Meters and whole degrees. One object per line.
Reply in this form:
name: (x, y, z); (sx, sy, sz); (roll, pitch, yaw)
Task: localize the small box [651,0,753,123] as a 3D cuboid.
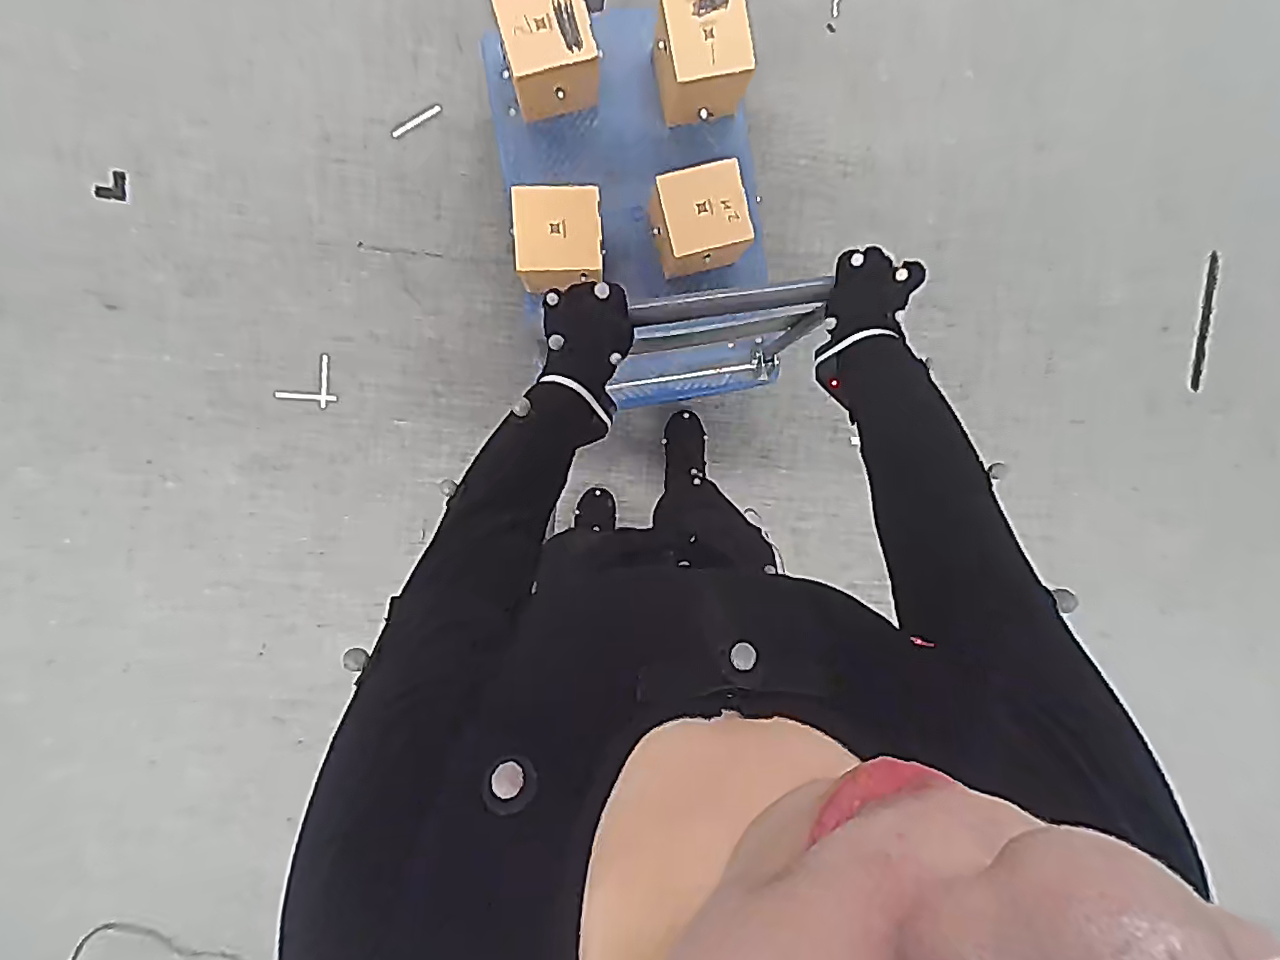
small box: (0.124, -0.900, 1.143); (0.168, 0.176, 0.179); (-12, 97, -3)

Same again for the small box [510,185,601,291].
small box: (-0.175, -0.510, 1.159); (0.179, 0.176, 0.168); (-4, 95, -5)

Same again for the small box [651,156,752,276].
small box: (0.124, -0.562, 1.175); (0.179, 0.176, 0.168); (-15, 96, -3)
